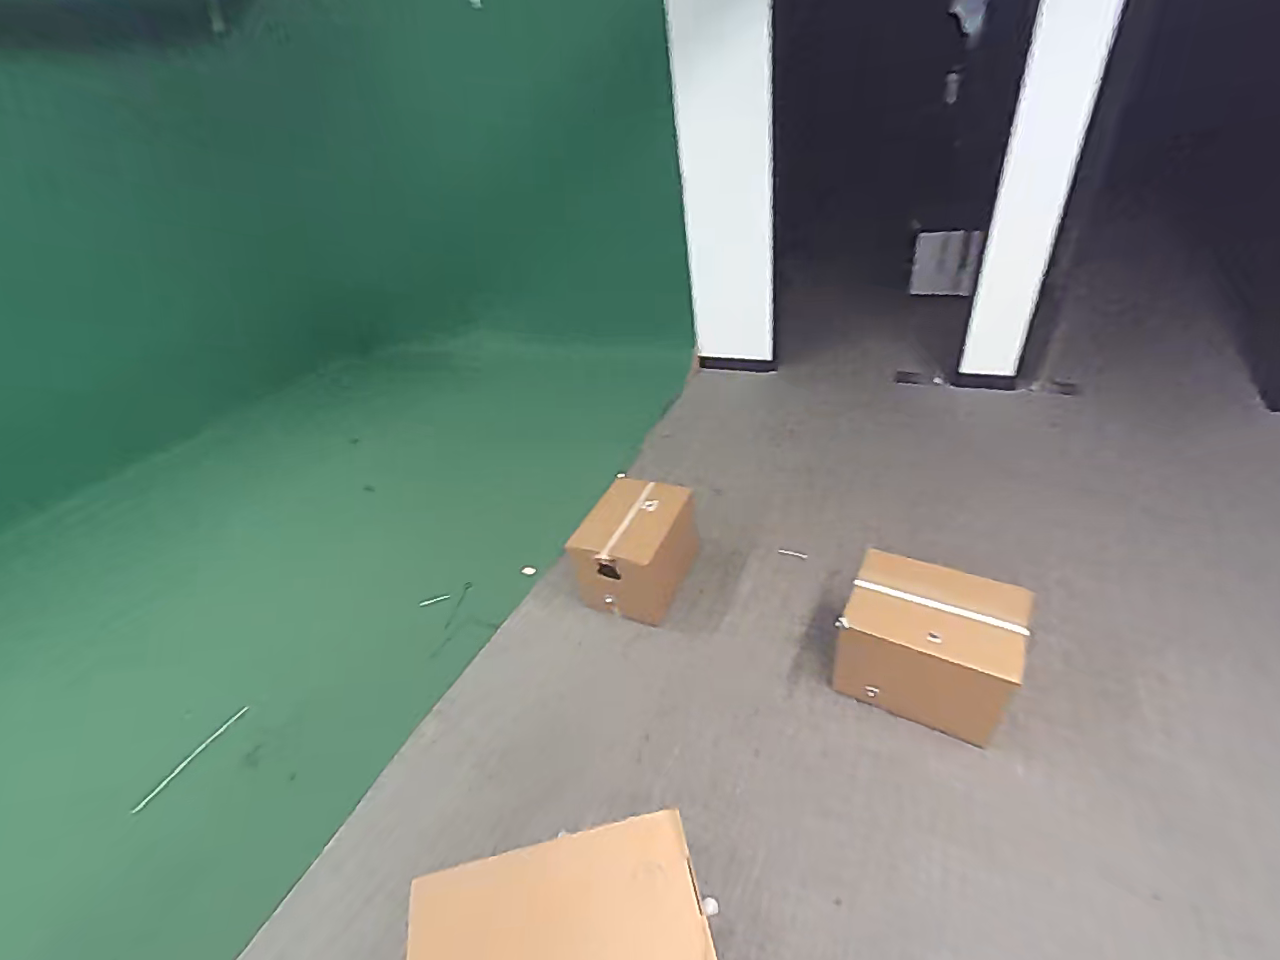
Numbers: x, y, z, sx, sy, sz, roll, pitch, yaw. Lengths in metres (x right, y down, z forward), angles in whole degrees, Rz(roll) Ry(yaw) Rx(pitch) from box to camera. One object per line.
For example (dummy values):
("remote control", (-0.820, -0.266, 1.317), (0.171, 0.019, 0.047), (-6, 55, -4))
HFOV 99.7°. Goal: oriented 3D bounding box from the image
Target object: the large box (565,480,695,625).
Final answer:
("large box", (-0.018, 0.254, 1.975), (0.320, 0.320, 0.408), (10, 40, 25))
